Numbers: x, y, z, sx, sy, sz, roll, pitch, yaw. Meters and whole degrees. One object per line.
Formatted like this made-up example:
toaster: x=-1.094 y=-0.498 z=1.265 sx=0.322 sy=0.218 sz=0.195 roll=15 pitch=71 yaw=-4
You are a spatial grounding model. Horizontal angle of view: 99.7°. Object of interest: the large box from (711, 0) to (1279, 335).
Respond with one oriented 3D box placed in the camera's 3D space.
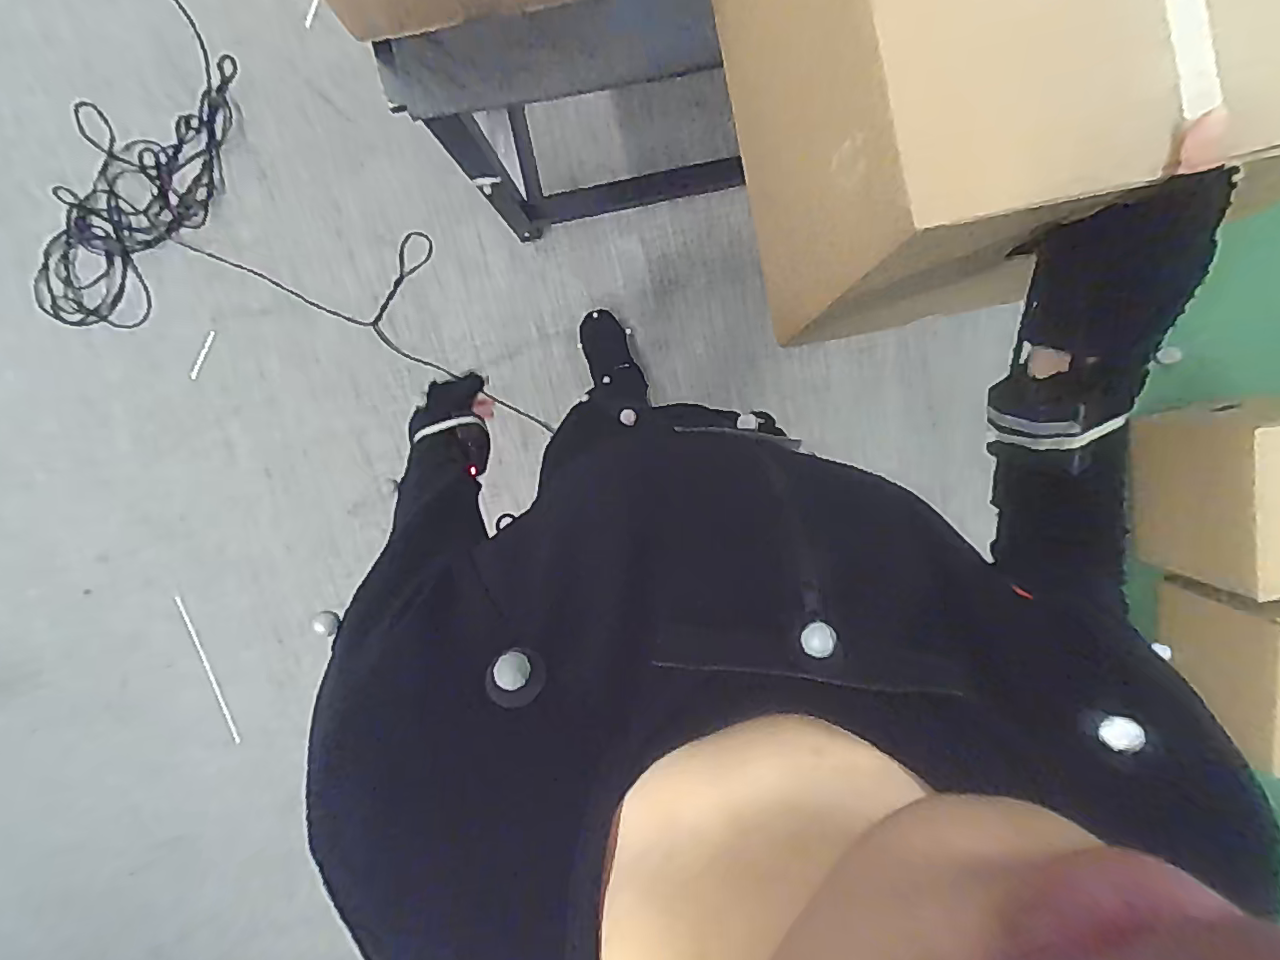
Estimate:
large box: x=0.259 y=-0.373 z=0.435 sx=0.320 sy=0.320 sz=0.408 roll=-11 pitch=93 yaw=2
